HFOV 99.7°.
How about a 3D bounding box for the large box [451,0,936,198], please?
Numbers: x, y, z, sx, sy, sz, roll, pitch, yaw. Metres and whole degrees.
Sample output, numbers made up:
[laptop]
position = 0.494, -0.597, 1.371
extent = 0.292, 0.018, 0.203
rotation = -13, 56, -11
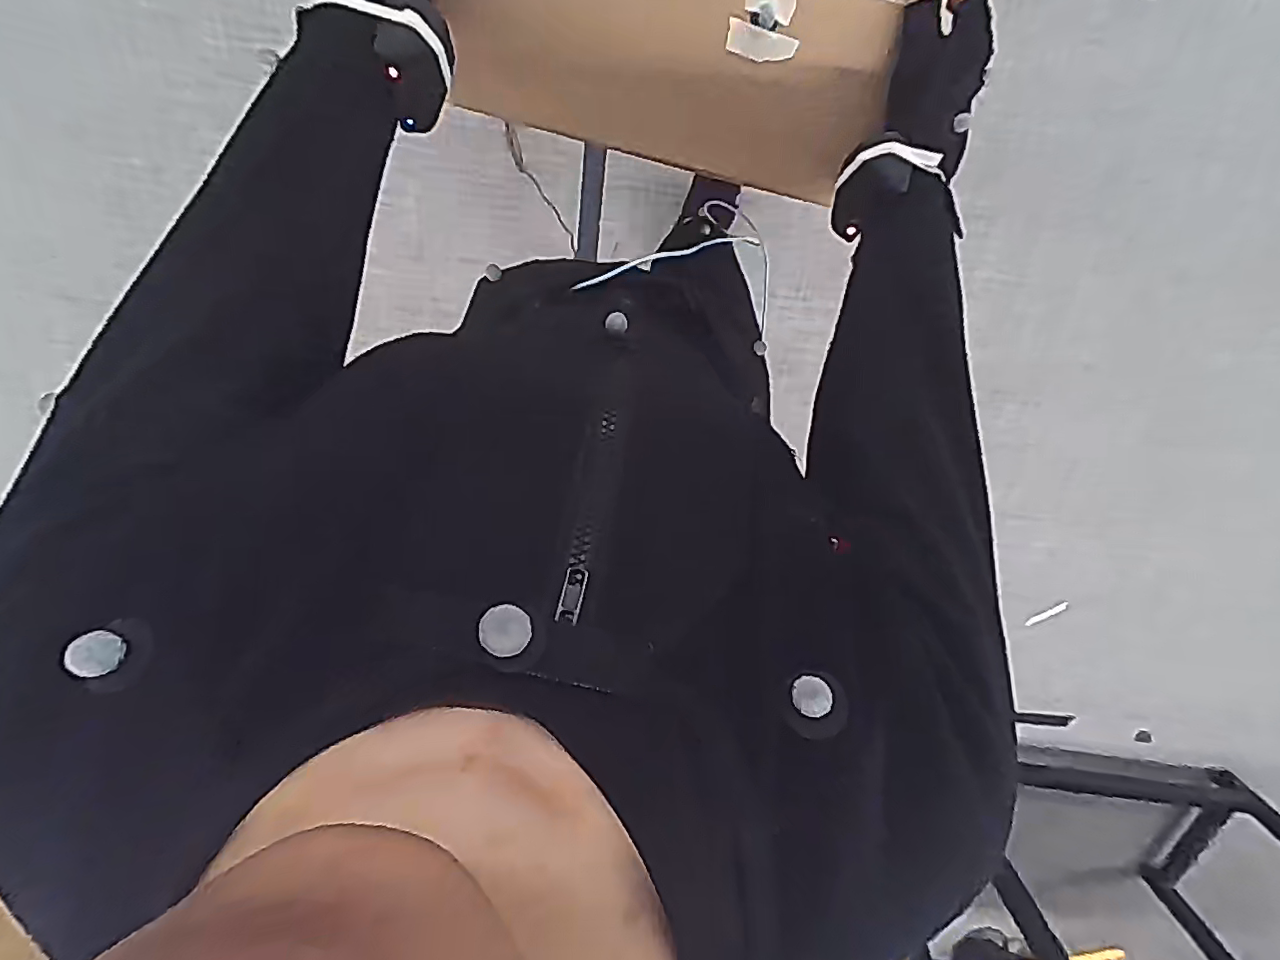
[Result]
[large box]
position = 0.051, -0.512, 0.556
extent = 0.408, 0.320, 0.320
rotation = 11, 121, -7
